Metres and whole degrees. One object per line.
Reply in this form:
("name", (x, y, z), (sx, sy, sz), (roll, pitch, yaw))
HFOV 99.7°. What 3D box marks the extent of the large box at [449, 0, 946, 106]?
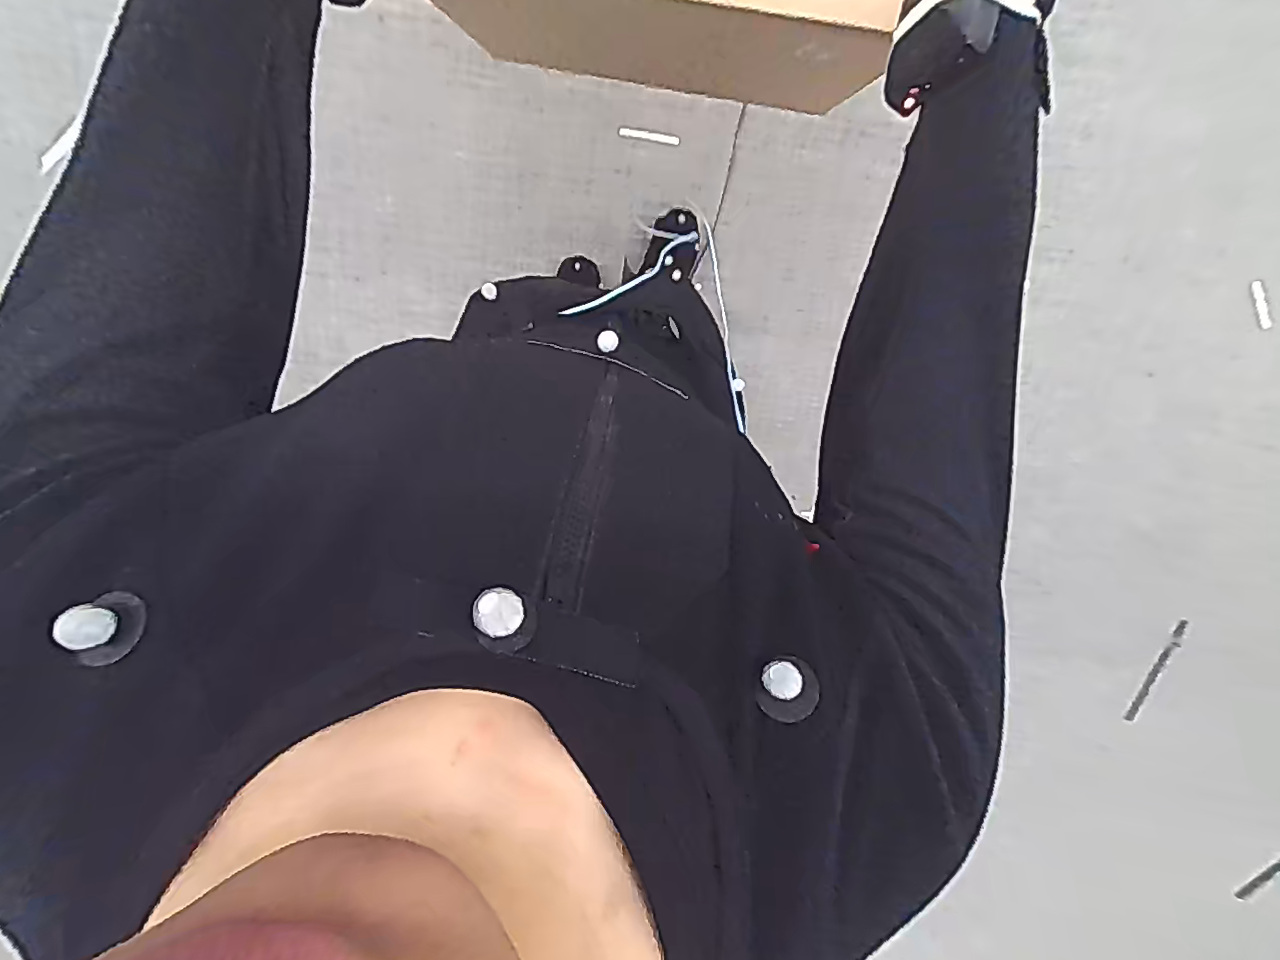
("large box", (0.042, -0.547, 0.449), (0.408, 0.320, 0.320), (9, 117, -1))
